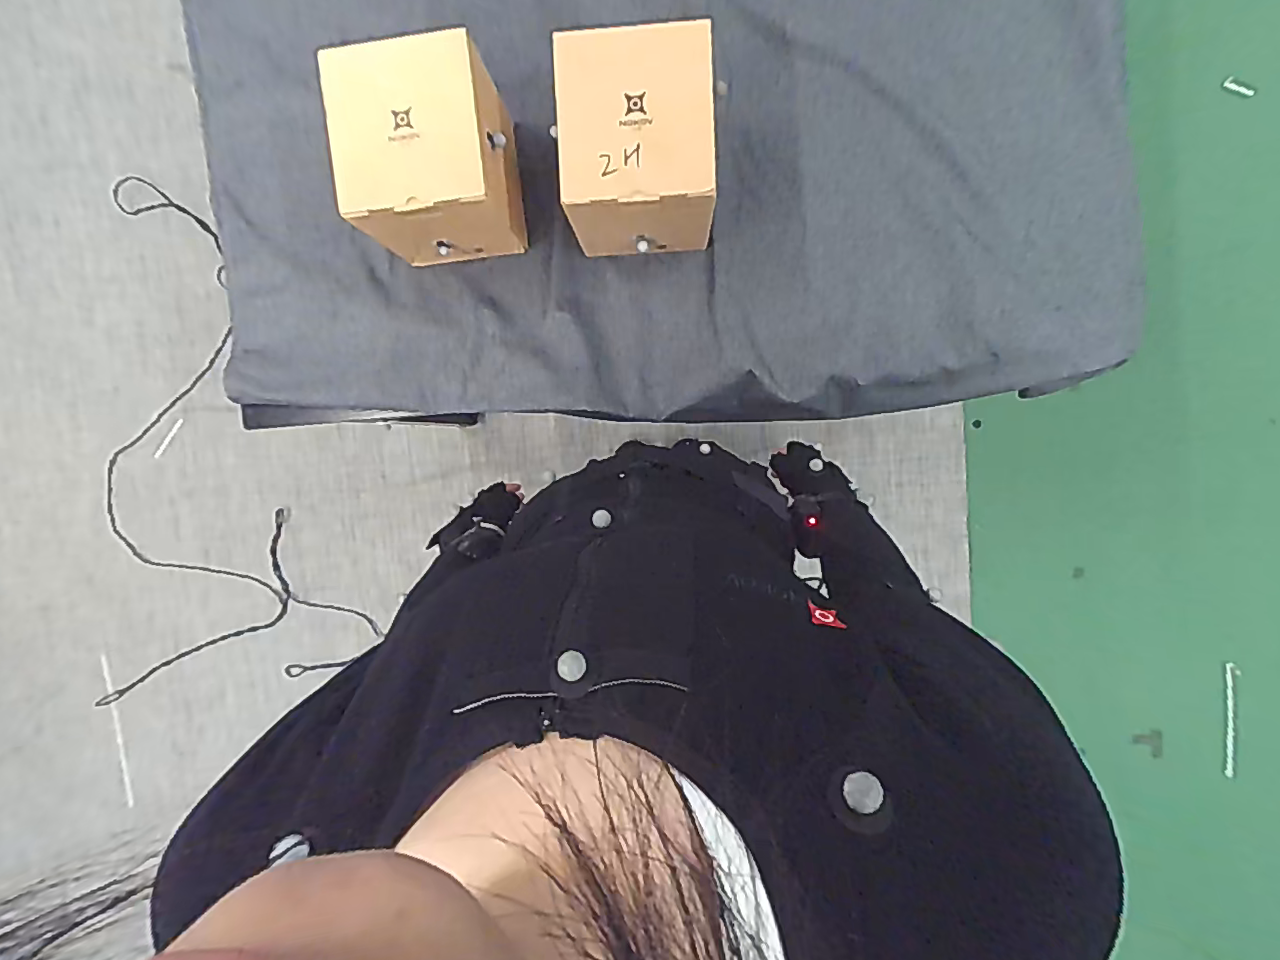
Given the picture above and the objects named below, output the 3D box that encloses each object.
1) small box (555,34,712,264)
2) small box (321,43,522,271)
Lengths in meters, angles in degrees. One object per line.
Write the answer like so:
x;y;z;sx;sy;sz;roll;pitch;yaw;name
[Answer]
-0.004;-0.378;0.646;0.168;0.176;0.179;-2;94;3;small box
-0.252;-0.377;0.662;0.168;0.176;0.179;-6;94;3;small box
